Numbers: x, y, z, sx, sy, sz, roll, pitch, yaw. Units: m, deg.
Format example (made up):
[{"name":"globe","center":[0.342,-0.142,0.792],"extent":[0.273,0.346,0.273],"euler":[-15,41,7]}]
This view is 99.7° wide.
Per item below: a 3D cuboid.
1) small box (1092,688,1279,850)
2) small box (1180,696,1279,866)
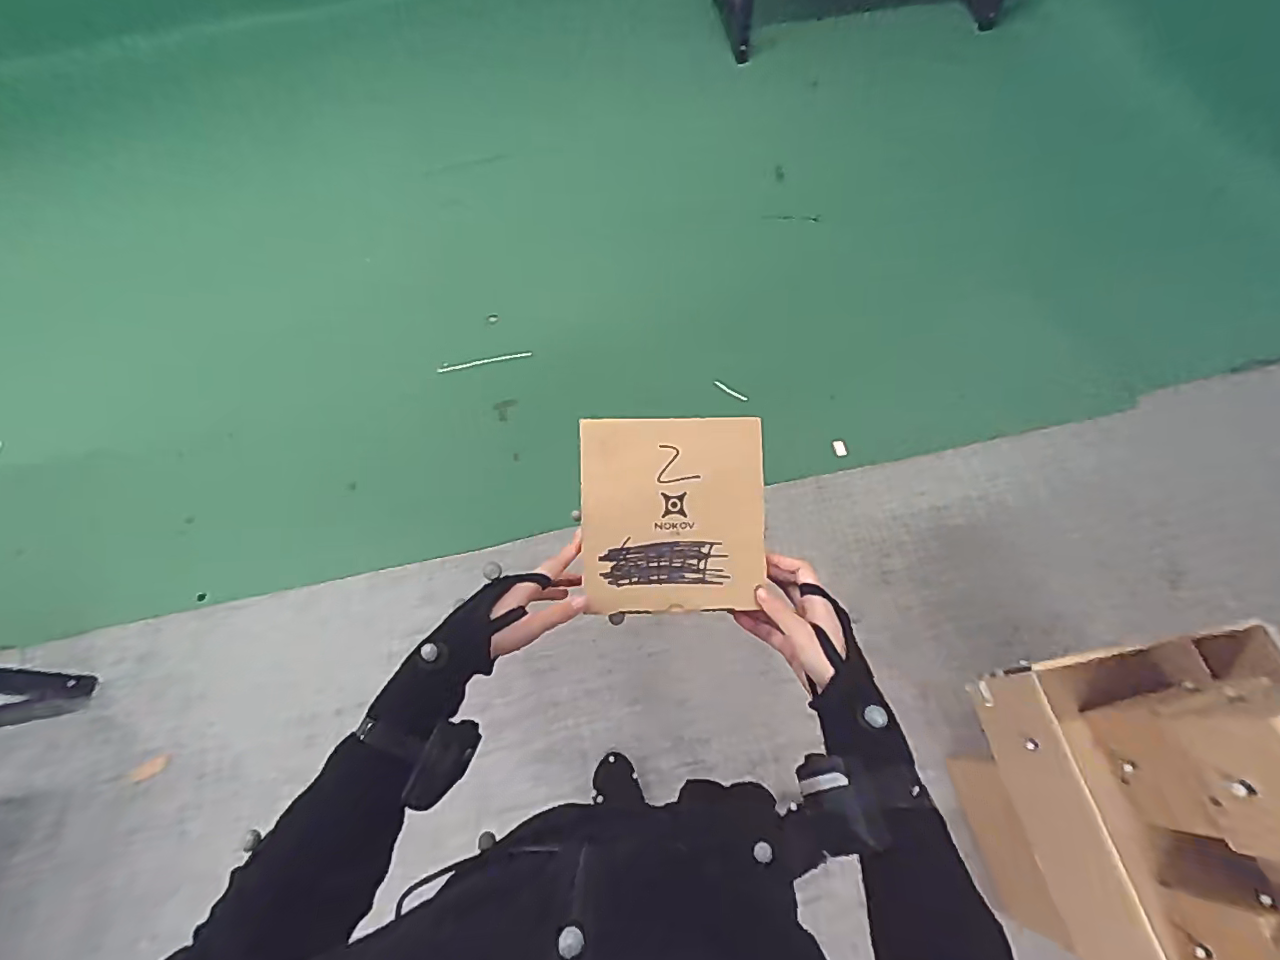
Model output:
[{"name":"small box","center":[0.840,0.416,0.796],"extent":[0.179,0.176,0.168],"euler":[-14,64,-3]},{"name":"small box","center":[0.818,0.357,0.644],"extent":[0.179,0.176,0.168],"euler":[-14,65,-2]}]
